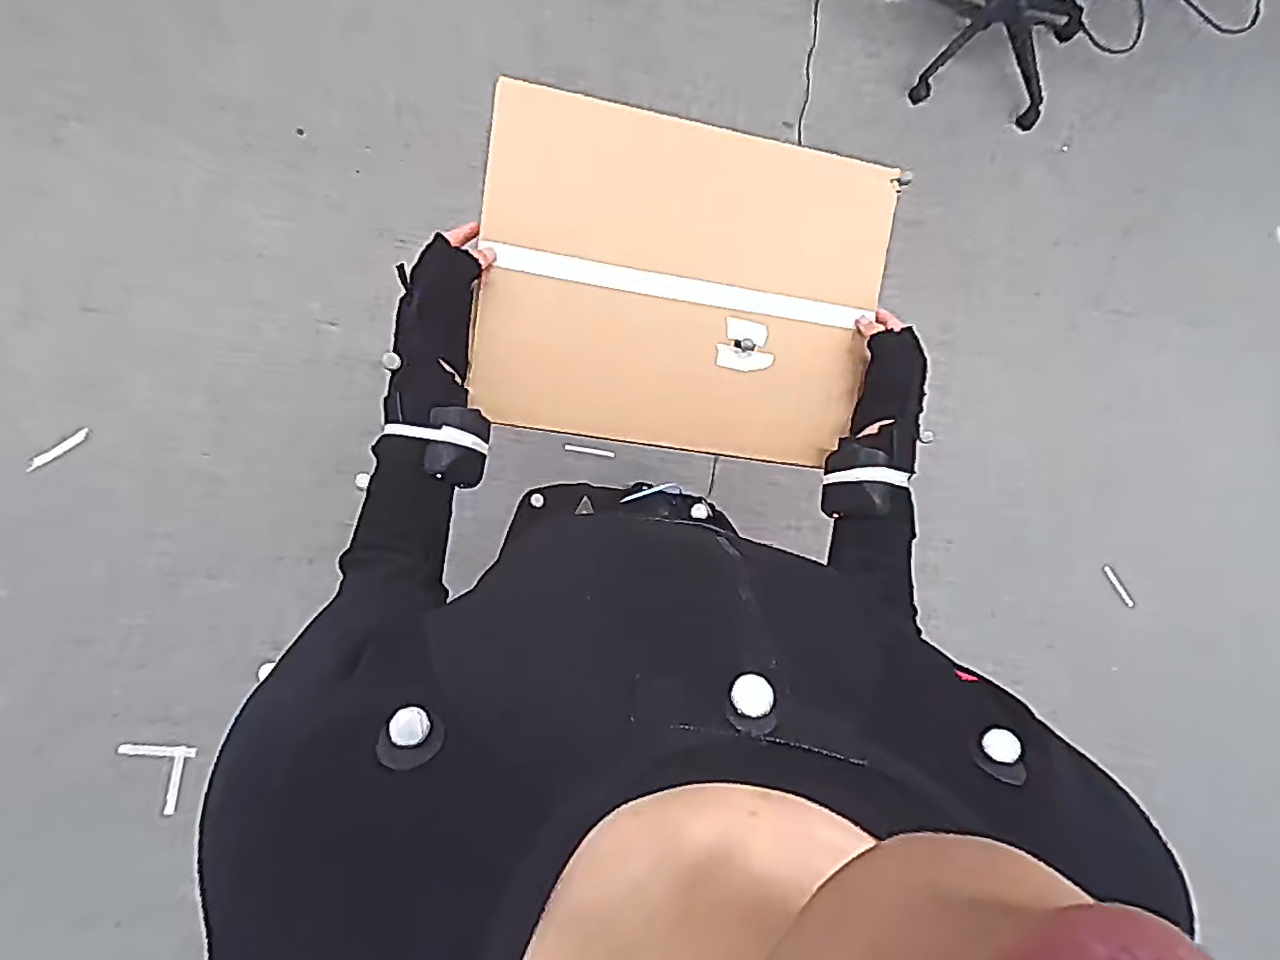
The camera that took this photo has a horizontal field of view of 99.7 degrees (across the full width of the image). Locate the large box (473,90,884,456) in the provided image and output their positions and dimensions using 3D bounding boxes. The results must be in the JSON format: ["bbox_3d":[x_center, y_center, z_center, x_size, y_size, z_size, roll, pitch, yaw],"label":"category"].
[{"bbox_3d":[0.023,-0.215,0.700,0.408,0.320,0.320,7,97,-9],"label":"large box"}]
